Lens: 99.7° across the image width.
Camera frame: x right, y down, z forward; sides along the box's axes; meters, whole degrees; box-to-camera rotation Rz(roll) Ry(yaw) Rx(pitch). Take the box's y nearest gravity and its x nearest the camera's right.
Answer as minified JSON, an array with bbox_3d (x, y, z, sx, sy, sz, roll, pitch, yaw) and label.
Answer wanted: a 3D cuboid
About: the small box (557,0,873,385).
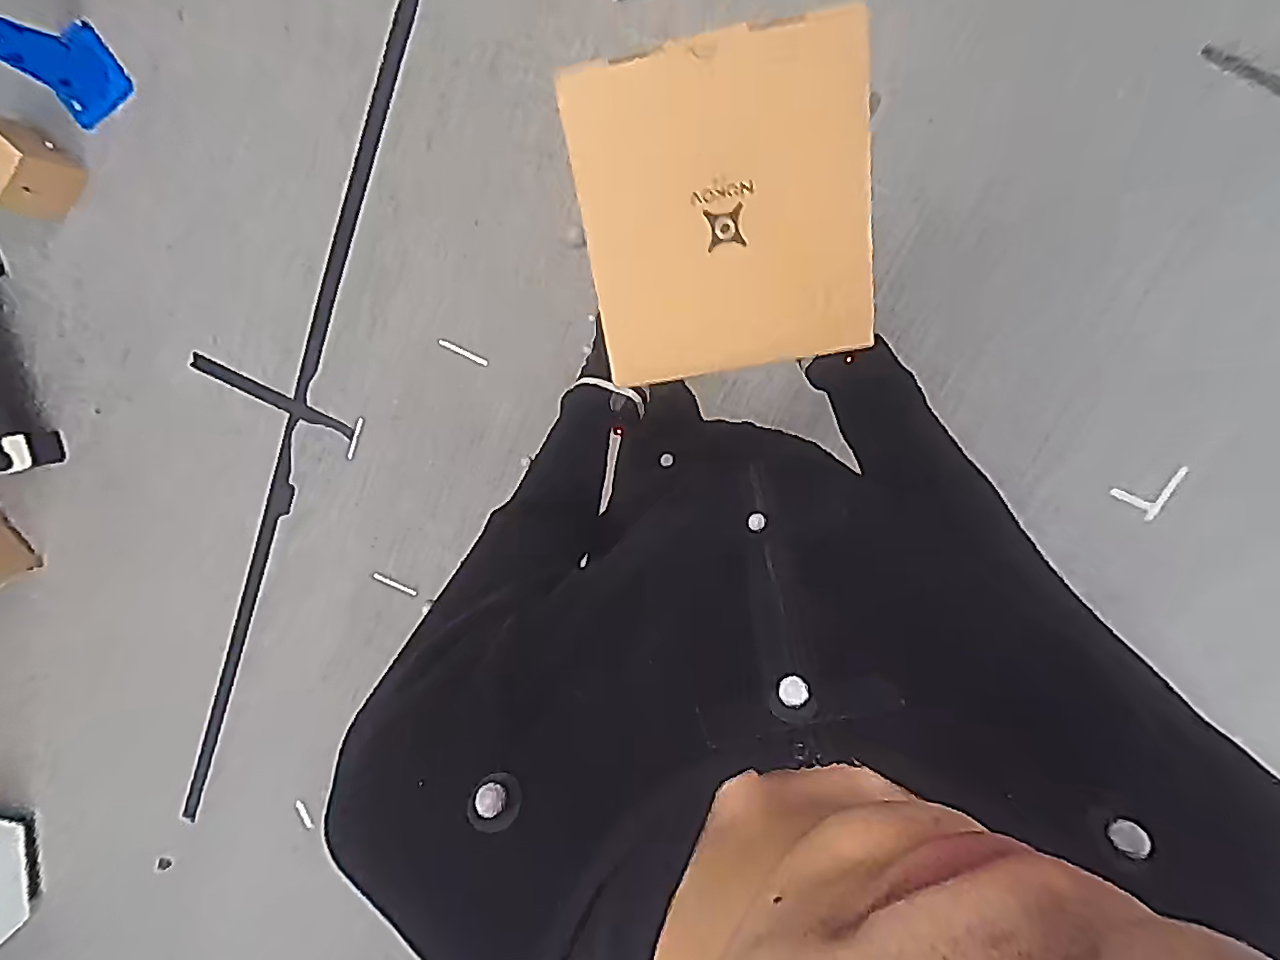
[{"bbox_3d":[0.053,-0.180,0.383,0.168,0.176,0.179,-9,110,6],"label":"small box"}]
